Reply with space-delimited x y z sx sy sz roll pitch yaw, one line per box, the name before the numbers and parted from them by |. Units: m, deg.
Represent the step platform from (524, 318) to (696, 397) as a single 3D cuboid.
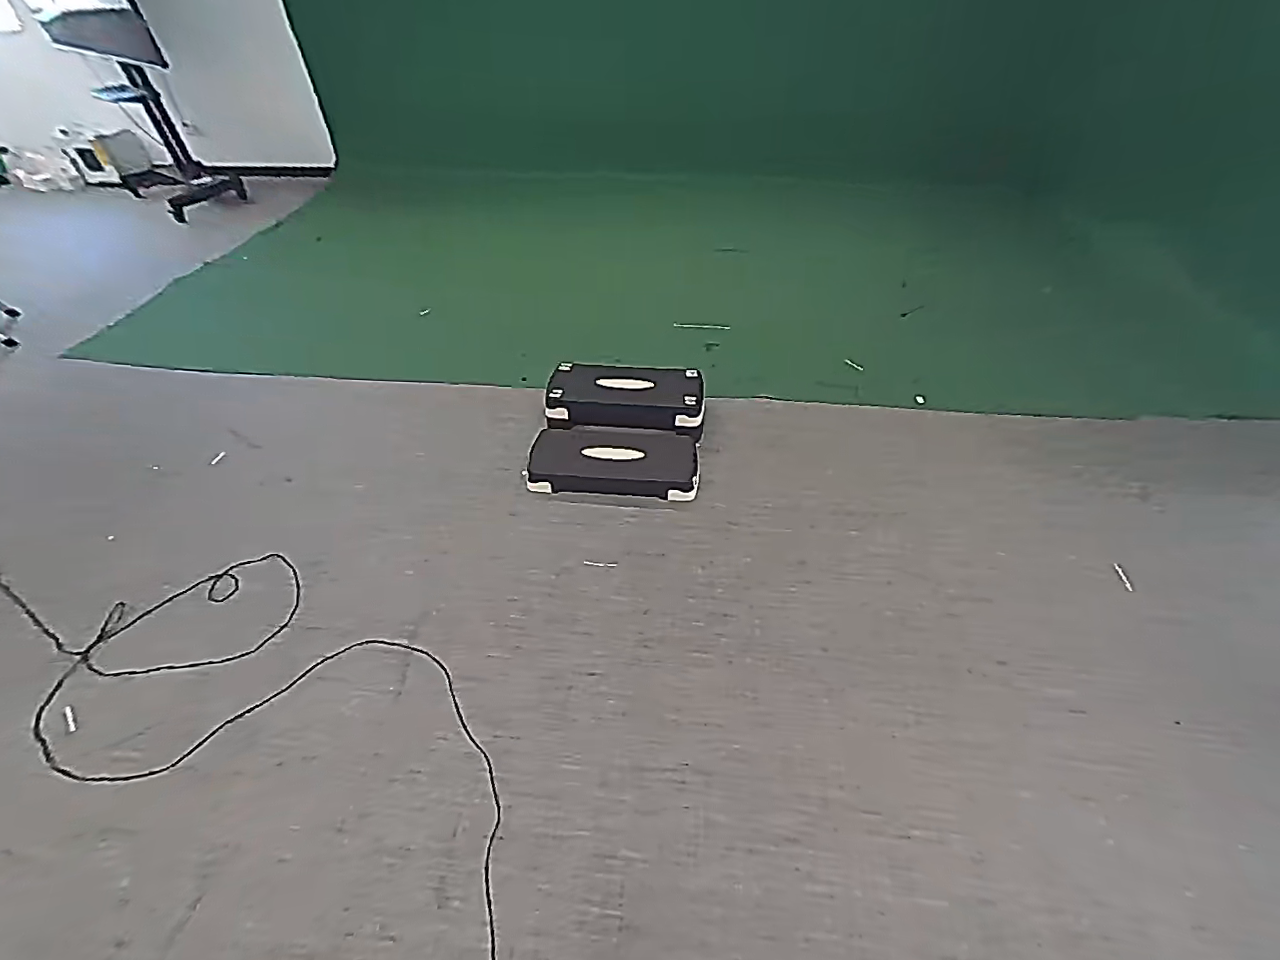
step platform | -0.114 -0.507 2.233 0.684 0.204 0.286 3 45 5
